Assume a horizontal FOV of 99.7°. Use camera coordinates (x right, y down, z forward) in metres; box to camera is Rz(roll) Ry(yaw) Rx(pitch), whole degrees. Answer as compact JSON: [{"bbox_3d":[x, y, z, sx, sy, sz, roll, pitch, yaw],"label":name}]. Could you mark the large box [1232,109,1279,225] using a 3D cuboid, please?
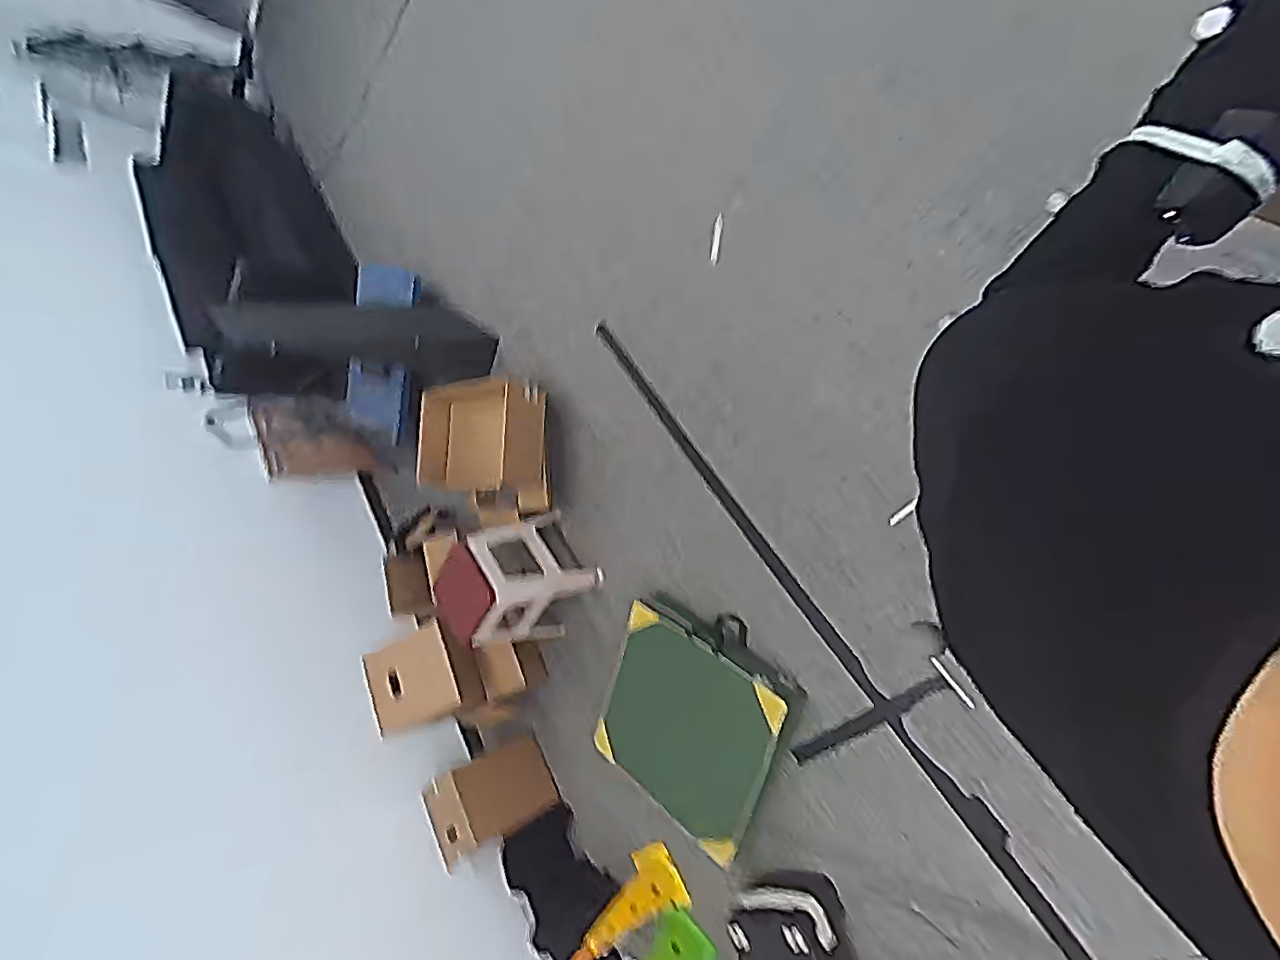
[{"bbox_3d":[0.682,-0.251,0.281,0.408,0.320,0.320,45,129,27],"label":"large box"}]
